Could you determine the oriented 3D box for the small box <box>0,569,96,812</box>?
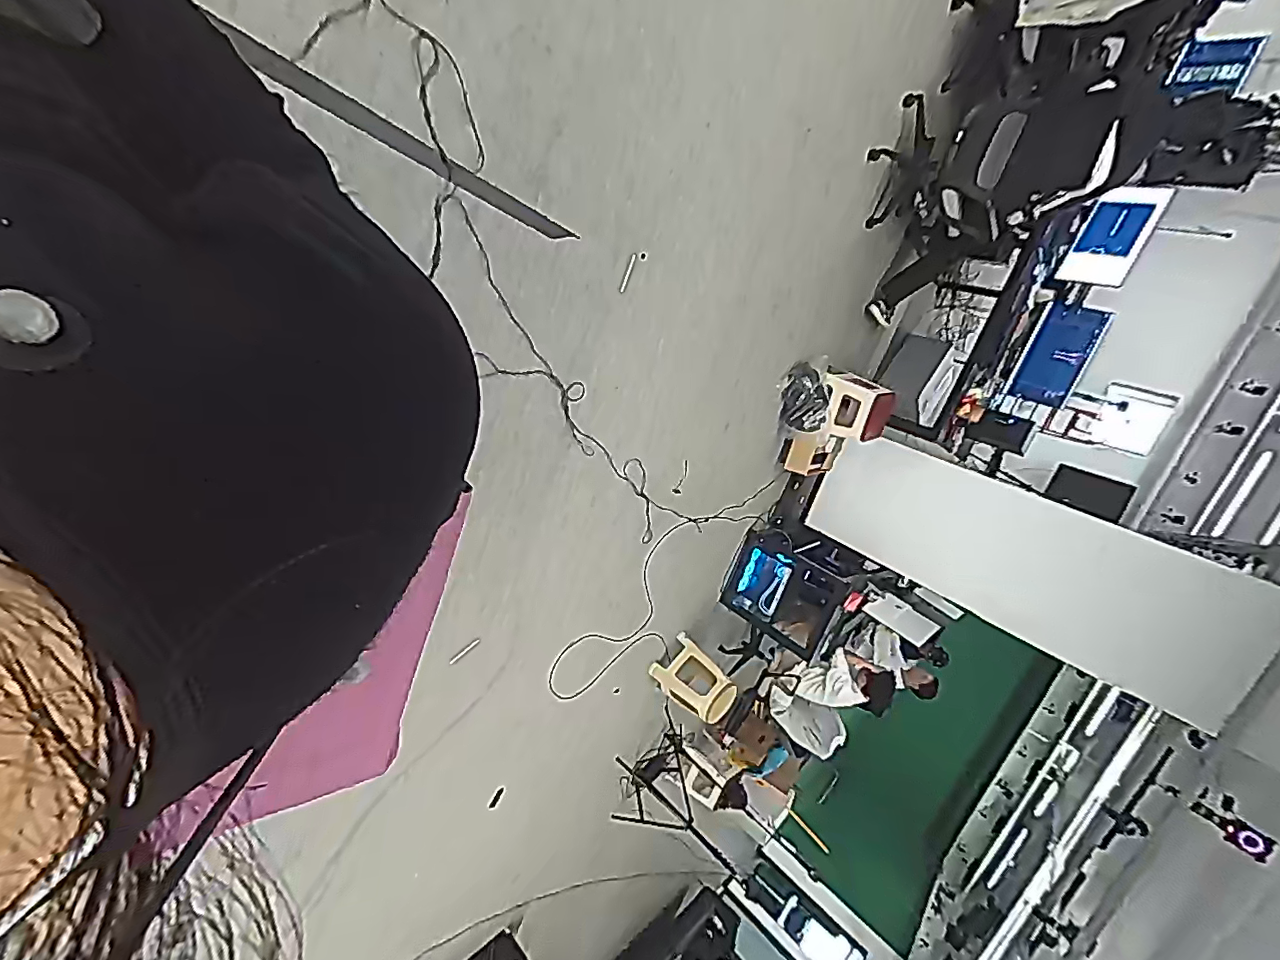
[{"bbox_3d":[-0.662,0.204,0.517,0.168,0.176,0.179,9,107,-54],"label":"small box"}]
